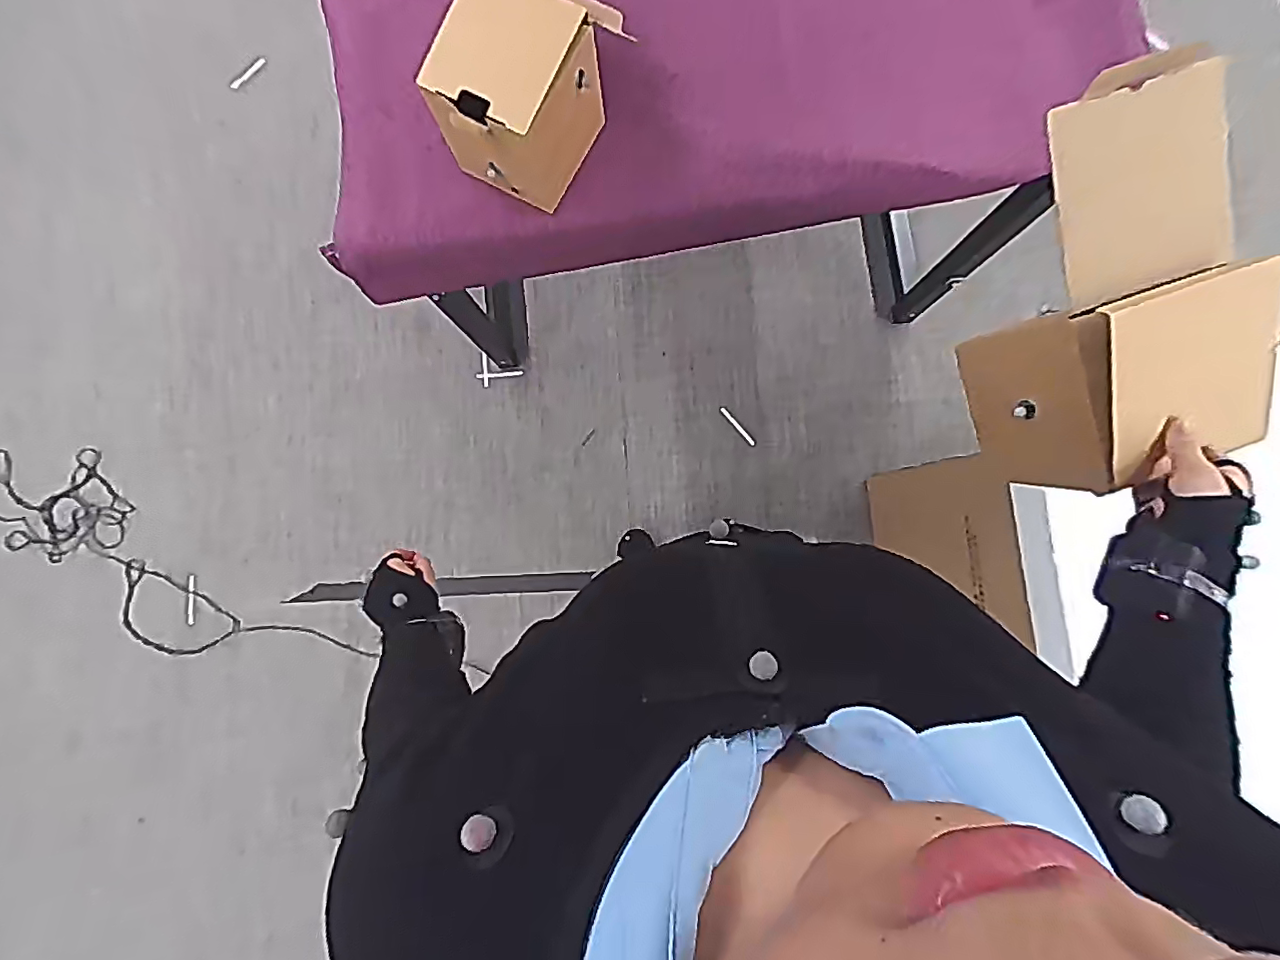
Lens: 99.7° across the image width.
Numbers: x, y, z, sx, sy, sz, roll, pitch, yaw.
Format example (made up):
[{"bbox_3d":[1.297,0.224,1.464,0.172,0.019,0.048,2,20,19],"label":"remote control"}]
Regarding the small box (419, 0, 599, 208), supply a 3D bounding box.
[{"bbox_3d":[-0.168,-0.533,0.764,0.168,0.176,0.179,28,86,5],"label":"small box"}]
